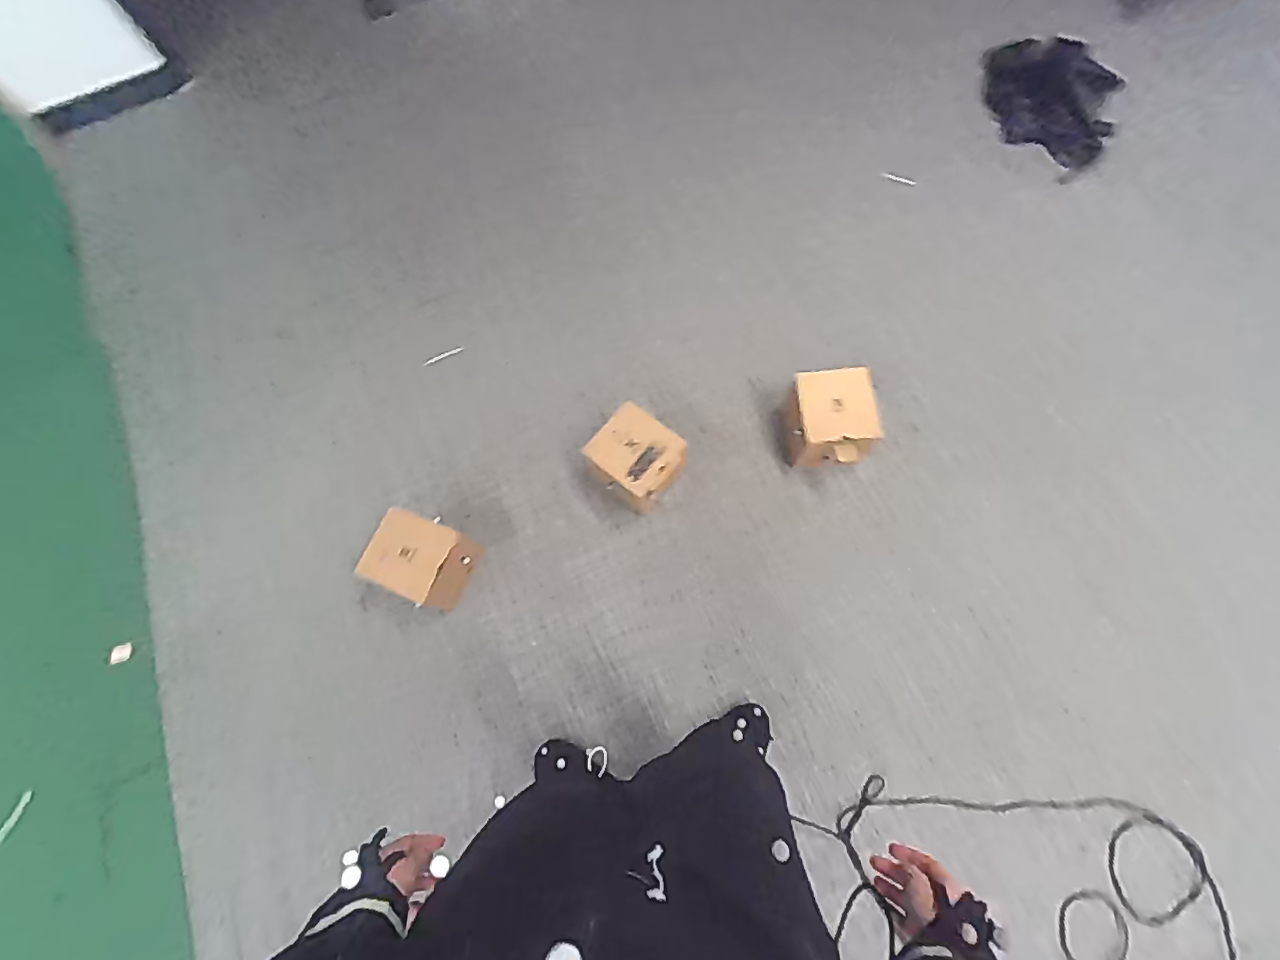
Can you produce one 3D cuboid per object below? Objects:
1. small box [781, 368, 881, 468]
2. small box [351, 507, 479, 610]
[{"bbox_3d":[0.439,-0.142,1.275,0.168,0.176,0.179,-5,72,1],"label":"small box"},{"bbox_3d":[-0.492,0.183,1.215,0.179,0.176,0.168,20,72,11],"label":"small box"}]
